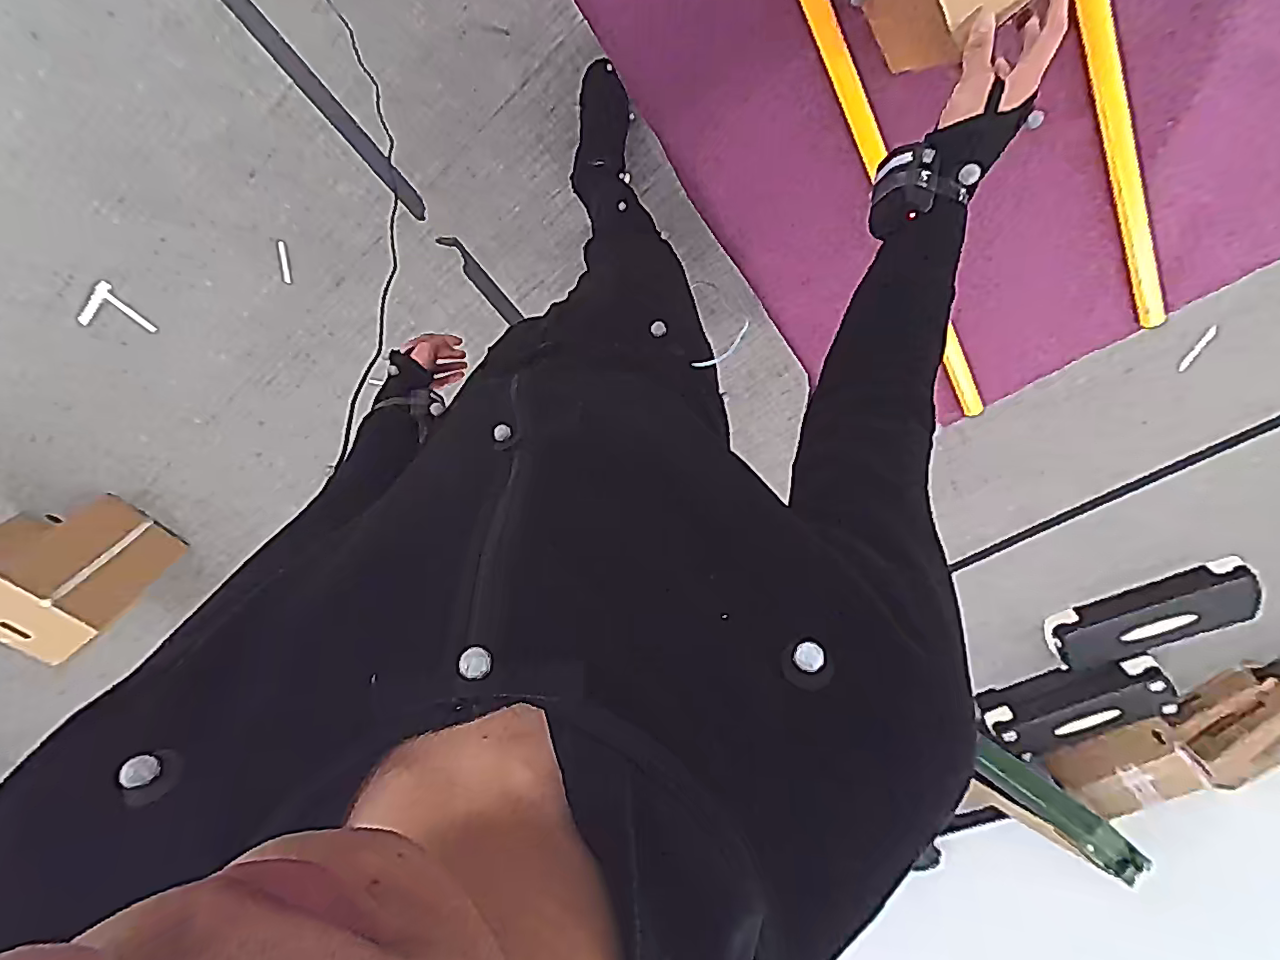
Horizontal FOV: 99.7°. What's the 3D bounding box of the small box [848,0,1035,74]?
[{"bbox_3d":[0.284,-0.511,0.485,0.168,0.176,0.179,-34,118,22],"label":"small box"}]
